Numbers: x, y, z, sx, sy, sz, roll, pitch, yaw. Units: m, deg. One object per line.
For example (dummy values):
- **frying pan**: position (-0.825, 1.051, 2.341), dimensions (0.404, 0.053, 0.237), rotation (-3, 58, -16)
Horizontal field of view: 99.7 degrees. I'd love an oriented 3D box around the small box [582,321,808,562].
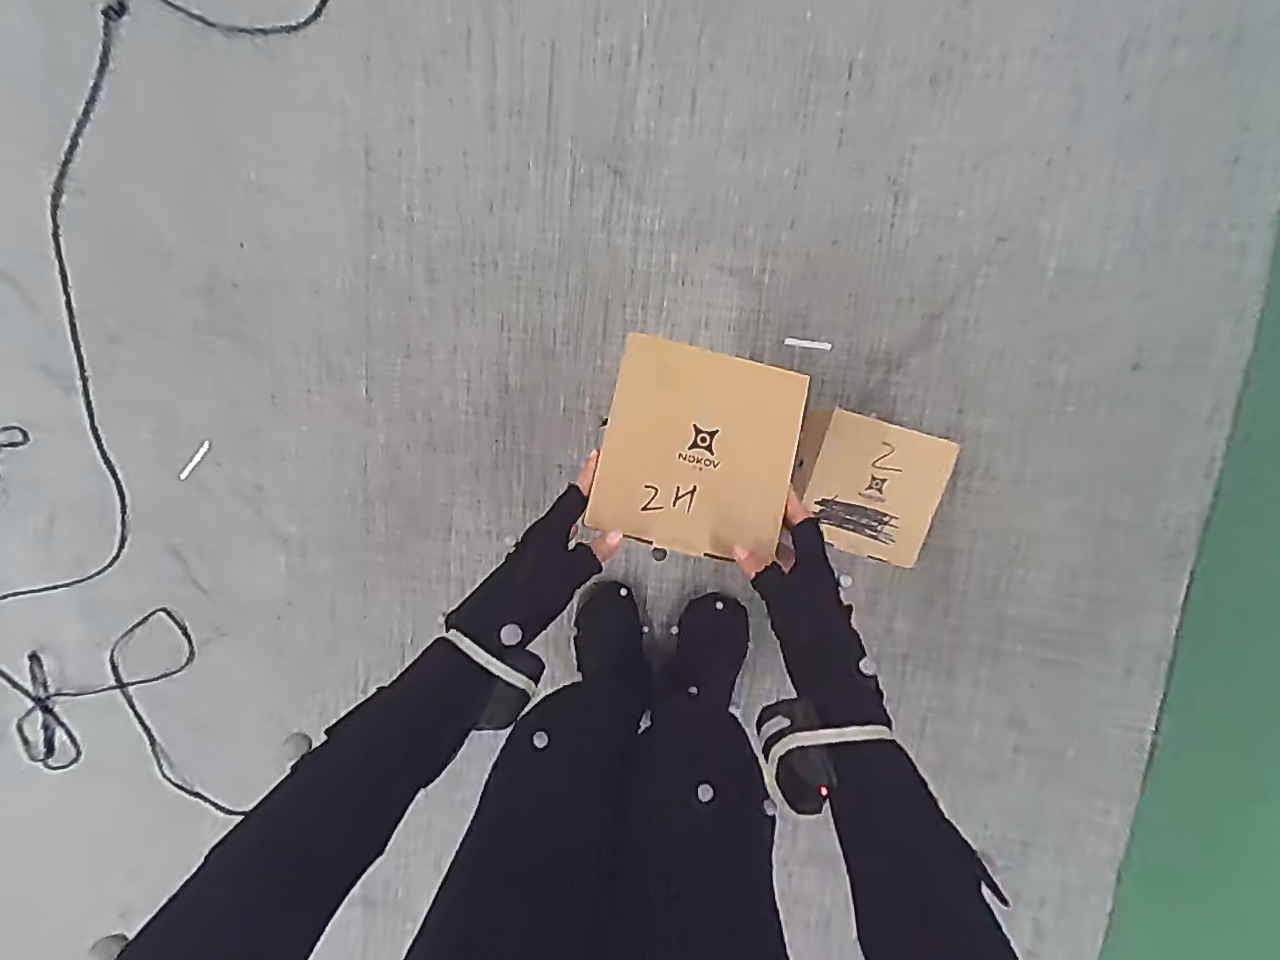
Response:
- **small box**: position (0.042, -0.027, 0.533), dimensions (0.168, 0.176, 0.179), rotation (13, 85, -3)
